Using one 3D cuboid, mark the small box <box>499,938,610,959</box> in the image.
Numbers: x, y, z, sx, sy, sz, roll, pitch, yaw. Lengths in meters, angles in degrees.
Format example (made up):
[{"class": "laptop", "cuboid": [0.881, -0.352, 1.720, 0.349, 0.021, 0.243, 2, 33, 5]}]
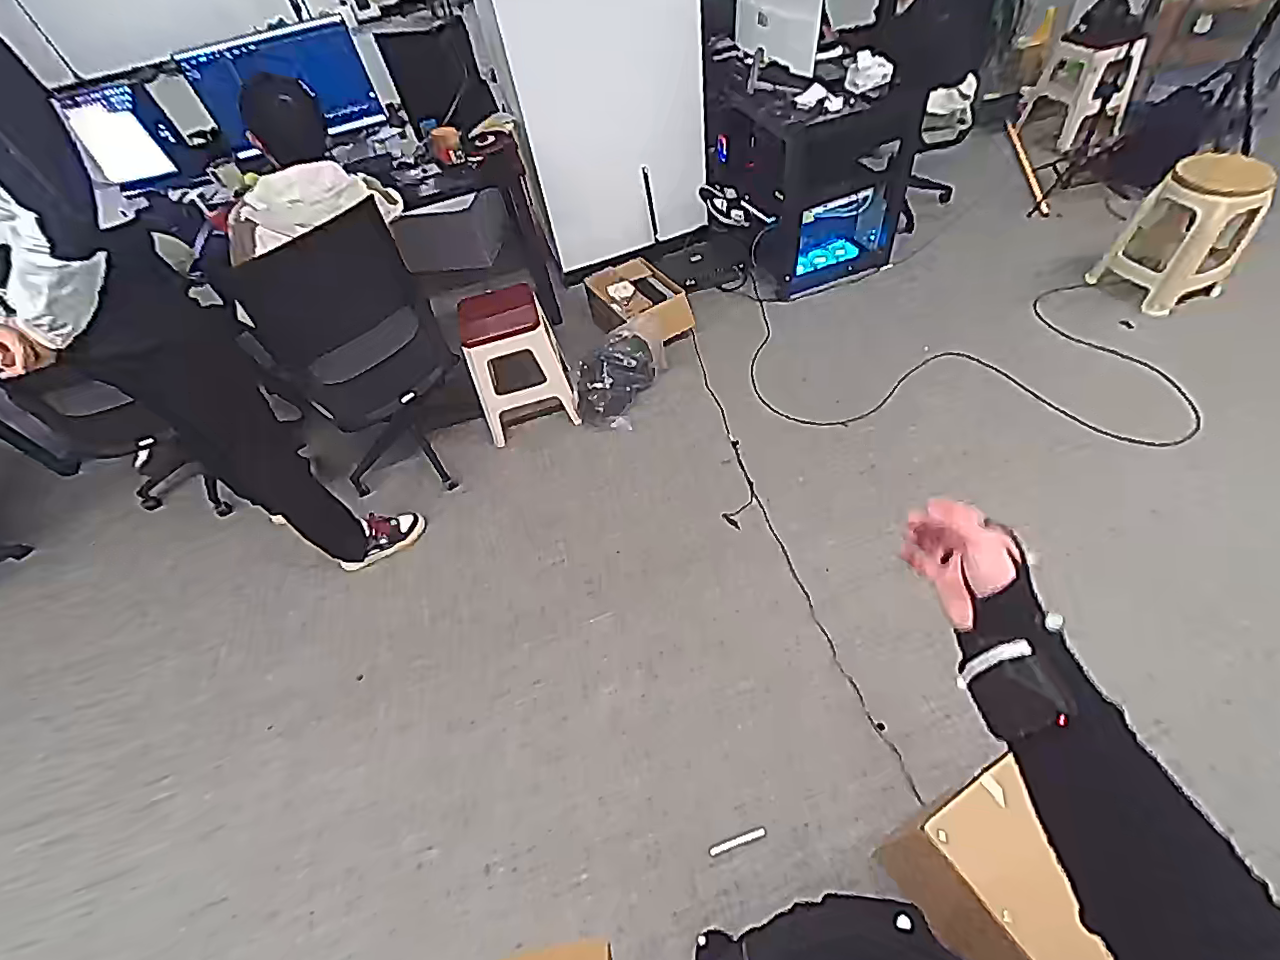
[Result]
[{"class": "small box", "cuboid": [-0.107, 0.742, 0.677, 0.168, 0.179, 0.176, -10, 90, -2]}]
